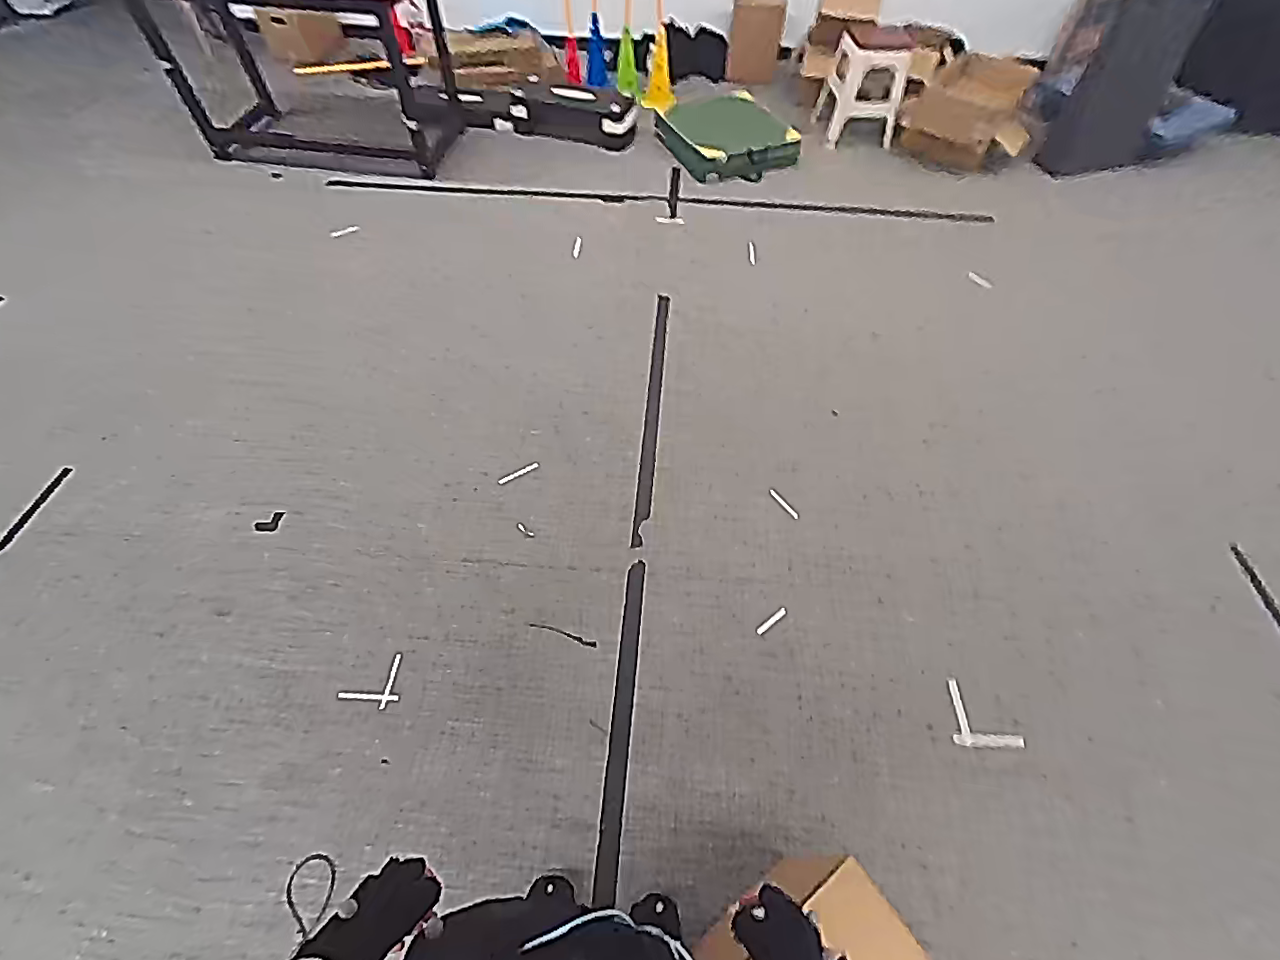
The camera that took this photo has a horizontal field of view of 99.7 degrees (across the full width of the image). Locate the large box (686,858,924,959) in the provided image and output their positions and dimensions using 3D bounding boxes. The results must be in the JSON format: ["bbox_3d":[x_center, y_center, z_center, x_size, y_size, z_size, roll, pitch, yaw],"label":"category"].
[{"bbox_3d":[0.299,0.909,0.927,0.320,0.408,0.320,-29,60,-21],"label":"large box"}]
